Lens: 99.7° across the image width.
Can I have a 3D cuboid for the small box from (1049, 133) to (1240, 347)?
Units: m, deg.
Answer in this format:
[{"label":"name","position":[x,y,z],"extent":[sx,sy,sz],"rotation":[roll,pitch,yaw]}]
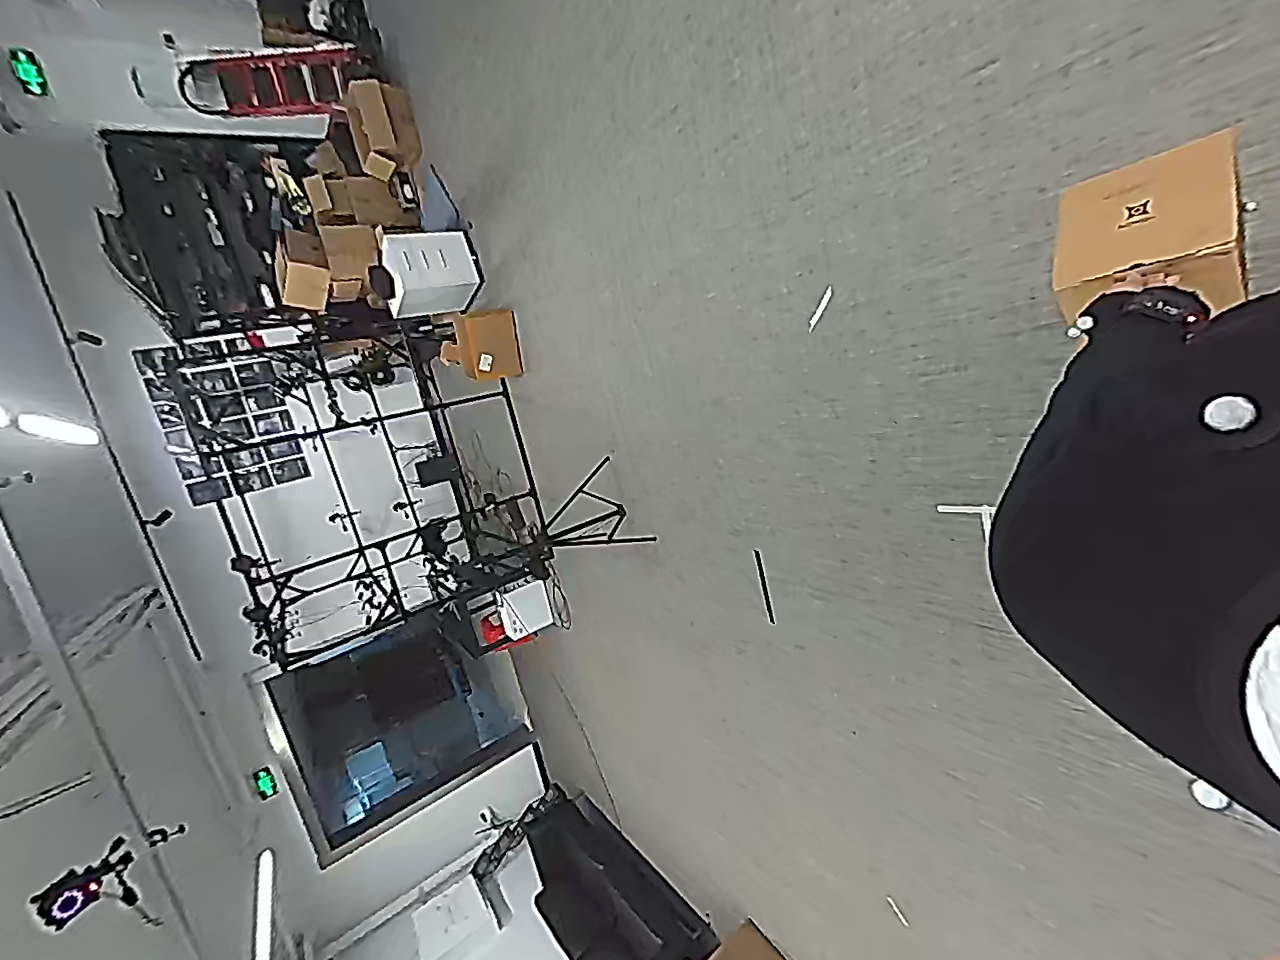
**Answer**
[{"label":"small box","position":[0.673,-0.298,0.721],"extent":[0.168,0.176,0.179],"rotation":[-4,62,49]}]
